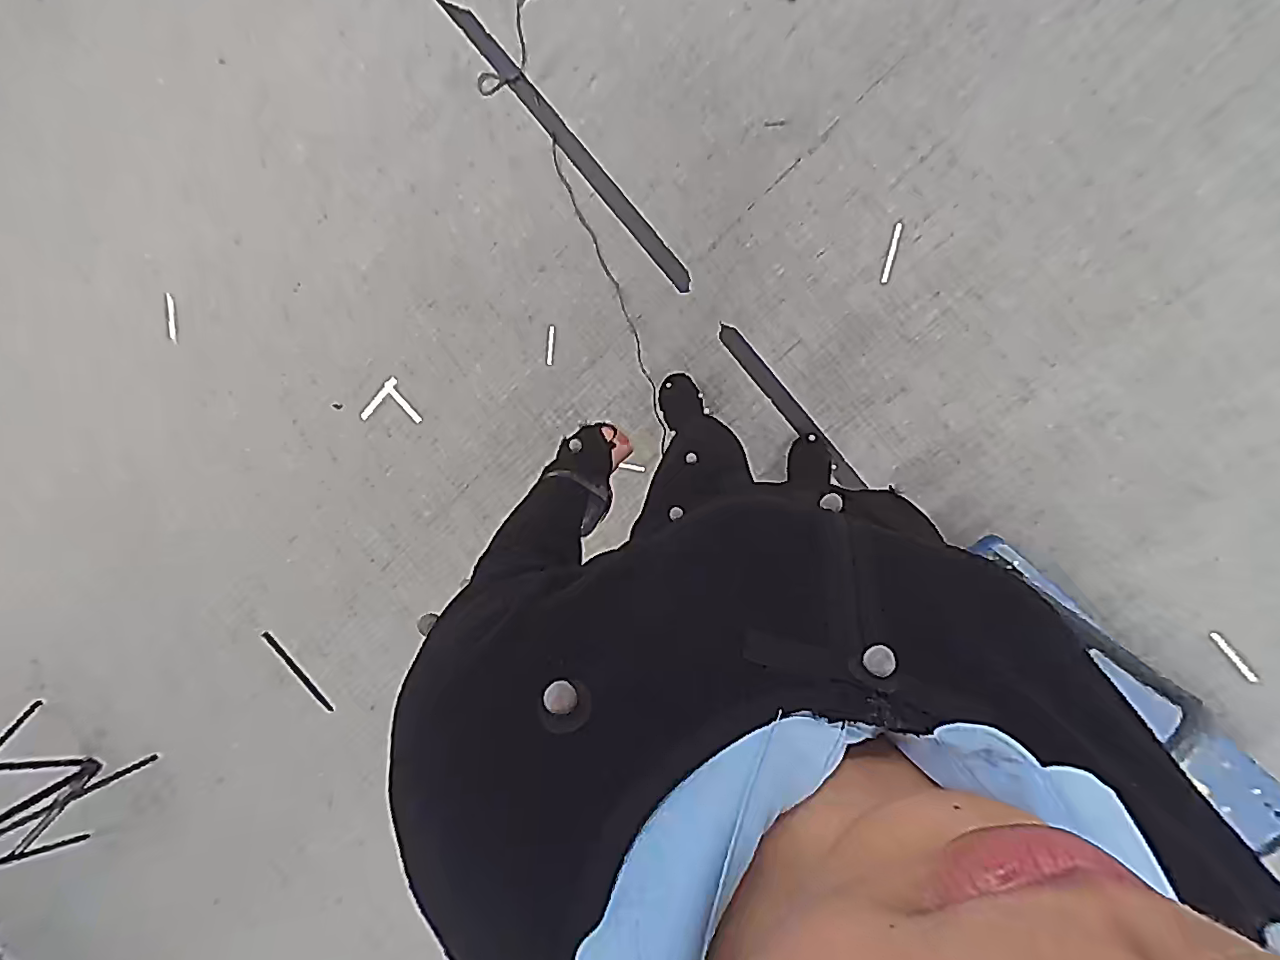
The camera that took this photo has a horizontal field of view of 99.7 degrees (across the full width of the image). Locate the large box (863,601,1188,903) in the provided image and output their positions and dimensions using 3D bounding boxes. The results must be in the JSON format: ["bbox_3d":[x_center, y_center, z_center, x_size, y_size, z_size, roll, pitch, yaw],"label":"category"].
[{"bbox_3d":[0.747,0.538,1.132,0.320,0.320,0.408,39,106,5],"label":"large box"}]
